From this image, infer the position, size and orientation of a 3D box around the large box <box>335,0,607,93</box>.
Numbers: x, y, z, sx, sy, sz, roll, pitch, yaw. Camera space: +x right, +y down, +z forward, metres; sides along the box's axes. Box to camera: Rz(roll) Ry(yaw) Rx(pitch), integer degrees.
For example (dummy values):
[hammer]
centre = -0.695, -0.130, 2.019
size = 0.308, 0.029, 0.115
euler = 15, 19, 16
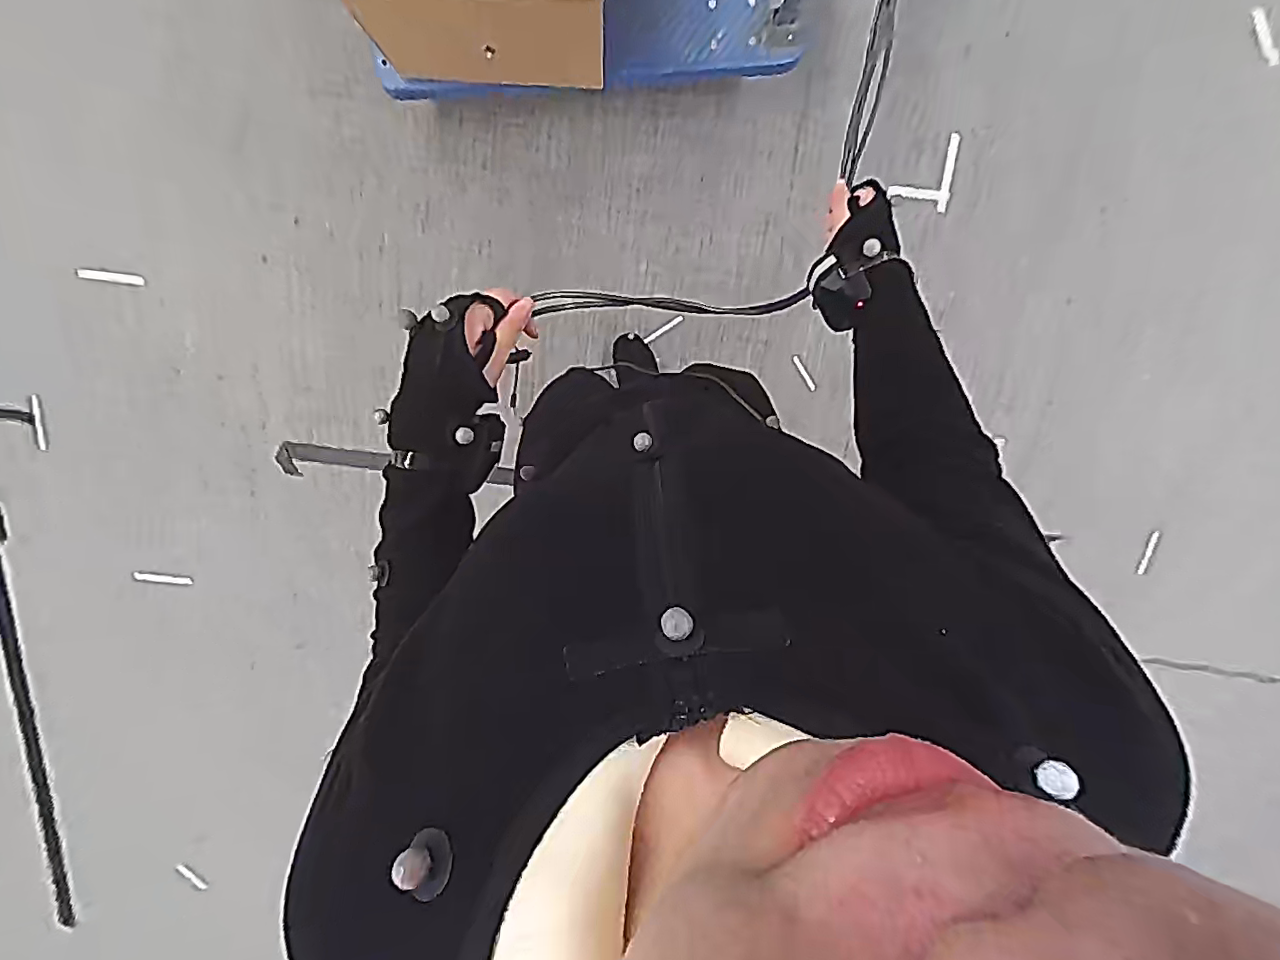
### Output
[large box]
centre = -0.263, -0.898, 0.919
size = 0.408, 0.320, 0.320
euler = 0, 103, -2
